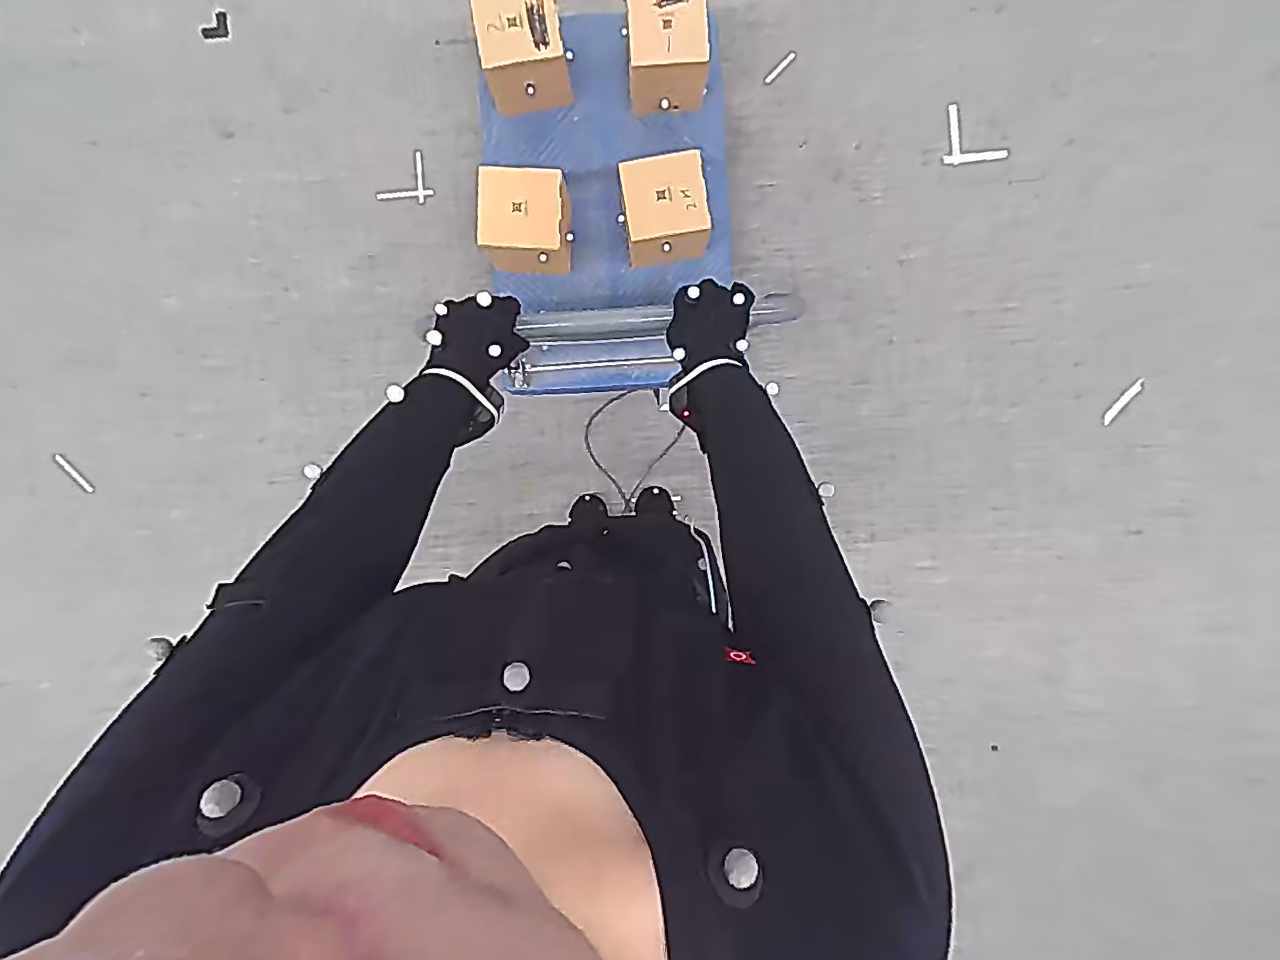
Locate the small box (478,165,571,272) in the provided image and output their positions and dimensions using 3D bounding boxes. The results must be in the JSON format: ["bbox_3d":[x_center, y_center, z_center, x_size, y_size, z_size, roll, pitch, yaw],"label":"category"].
[{"bbox_3d":[-0.254,-0.581,1.219,0.179,0.176,0.168,1,92,-2],"label":"small box"}]

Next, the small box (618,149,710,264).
[{"bbox_3d":[0.052,-0.606,1.218,0.179,0.176,0.168,-9,93,1],"label":"small box"}]

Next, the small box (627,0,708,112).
[{"bbox_3d":[0.057,-0.961,1.202,0.168,0.176,0.179,-4,94,0],"label":"small box"}]
